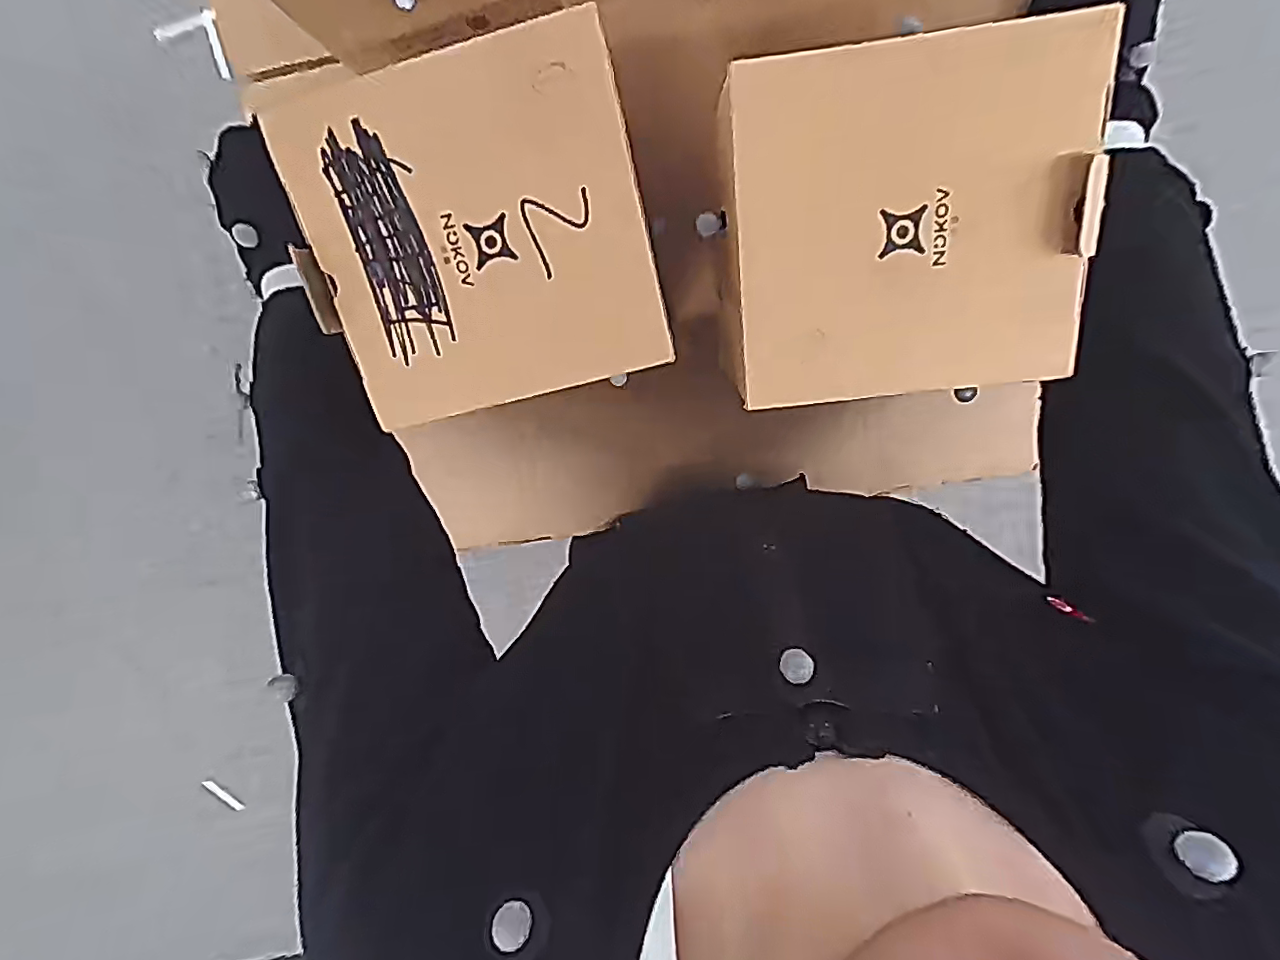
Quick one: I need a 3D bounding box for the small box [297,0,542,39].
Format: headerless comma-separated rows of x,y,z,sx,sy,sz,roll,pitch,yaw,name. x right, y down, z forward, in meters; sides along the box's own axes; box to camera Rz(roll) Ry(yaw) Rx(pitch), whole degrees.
-0.155,-0.385,0.294,0.168,0.176,0.179,-10,104,6,small box
